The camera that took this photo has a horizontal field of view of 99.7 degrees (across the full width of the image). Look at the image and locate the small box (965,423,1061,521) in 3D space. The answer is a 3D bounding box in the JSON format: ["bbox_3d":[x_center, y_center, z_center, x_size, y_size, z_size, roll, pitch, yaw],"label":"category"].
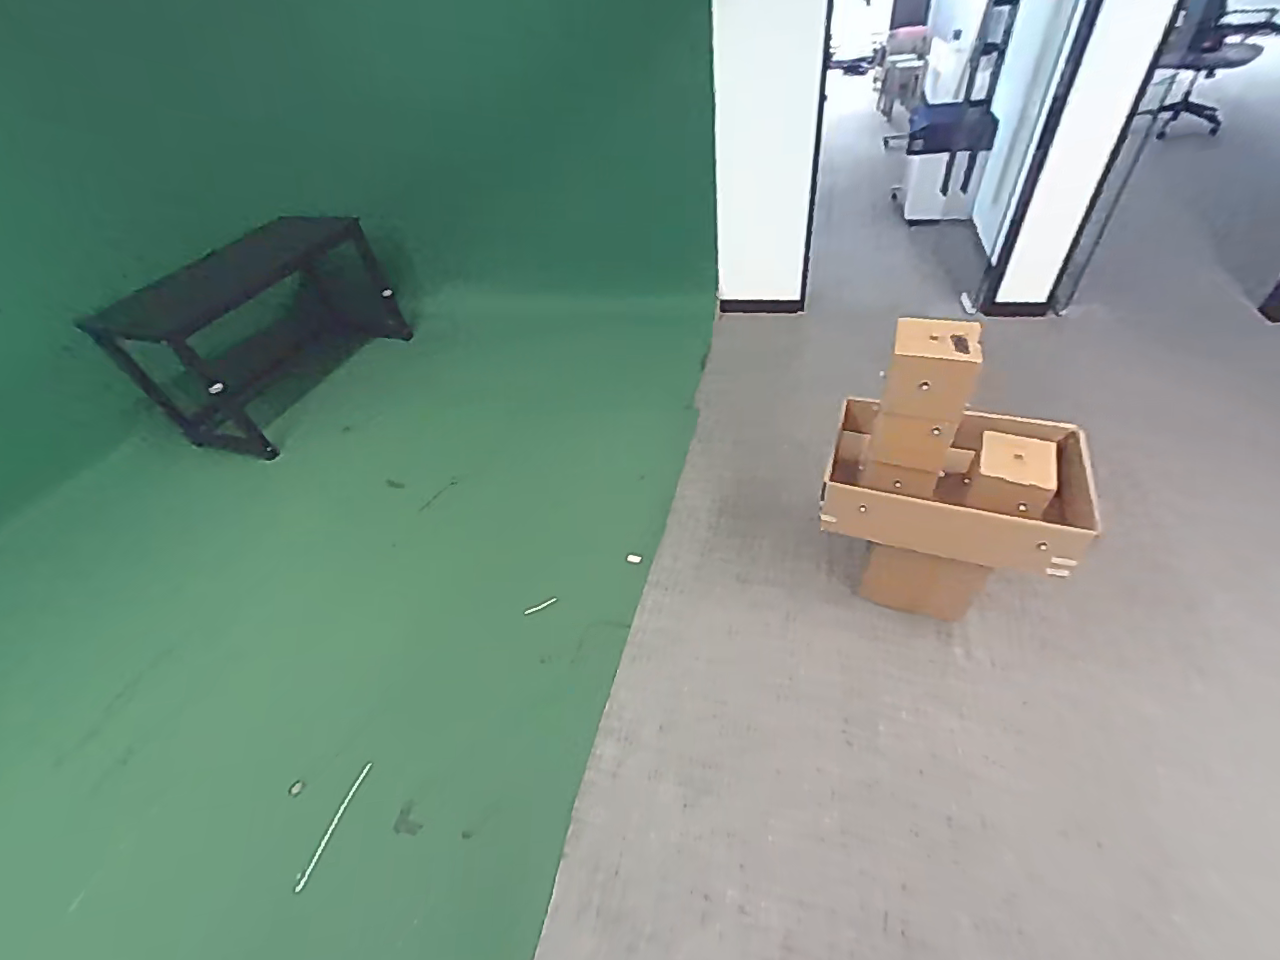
[{"bbox_3d":[0.972,-0.019,1.416,0.168,0.176,0.179,16,52,24],"label":"small box"}]

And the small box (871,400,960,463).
[{"bbox_3d":[0.702,-0.165,1.384,0.179,0.176,0.168,13,50,21],"label":"small box"}]

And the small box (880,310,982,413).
[{"bbox_3d":[0.676,-0.274,1.265,0.179,0.176,0.168,10,49,21],"label":"small box"}]
